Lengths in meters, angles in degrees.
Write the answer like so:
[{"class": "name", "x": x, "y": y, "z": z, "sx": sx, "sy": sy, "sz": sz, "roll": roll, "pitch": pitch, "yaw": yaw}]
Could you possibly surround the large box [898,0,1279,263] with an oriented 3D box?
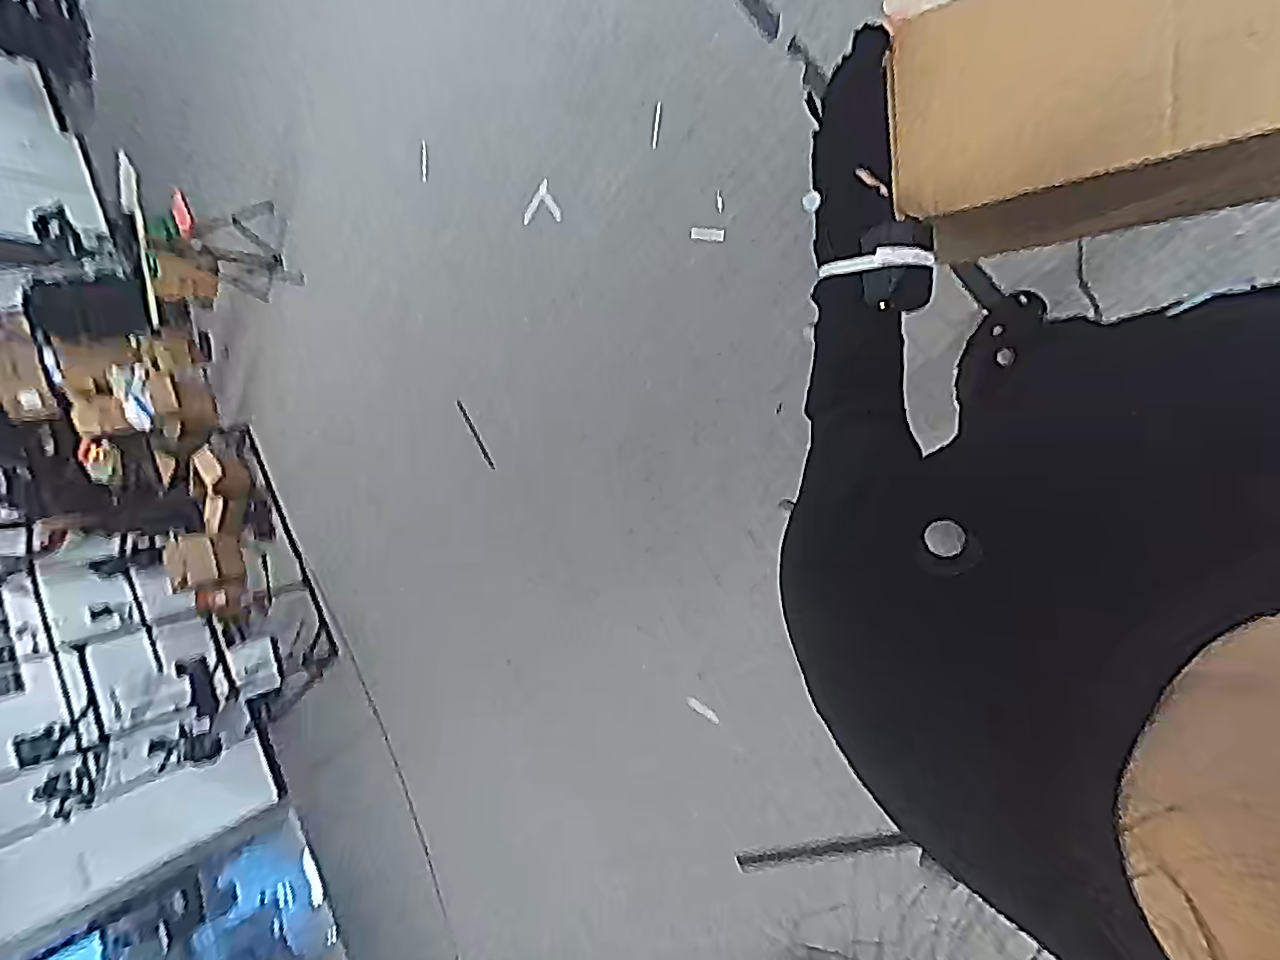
[{"class": "large box", "x": 0.450, "y": -0.400, "z": 0.440, "sx": 0.408, "sy": 0.320, "sz": 0.320, "roll": 0, "pitch": 102, "yaw": 34}]
